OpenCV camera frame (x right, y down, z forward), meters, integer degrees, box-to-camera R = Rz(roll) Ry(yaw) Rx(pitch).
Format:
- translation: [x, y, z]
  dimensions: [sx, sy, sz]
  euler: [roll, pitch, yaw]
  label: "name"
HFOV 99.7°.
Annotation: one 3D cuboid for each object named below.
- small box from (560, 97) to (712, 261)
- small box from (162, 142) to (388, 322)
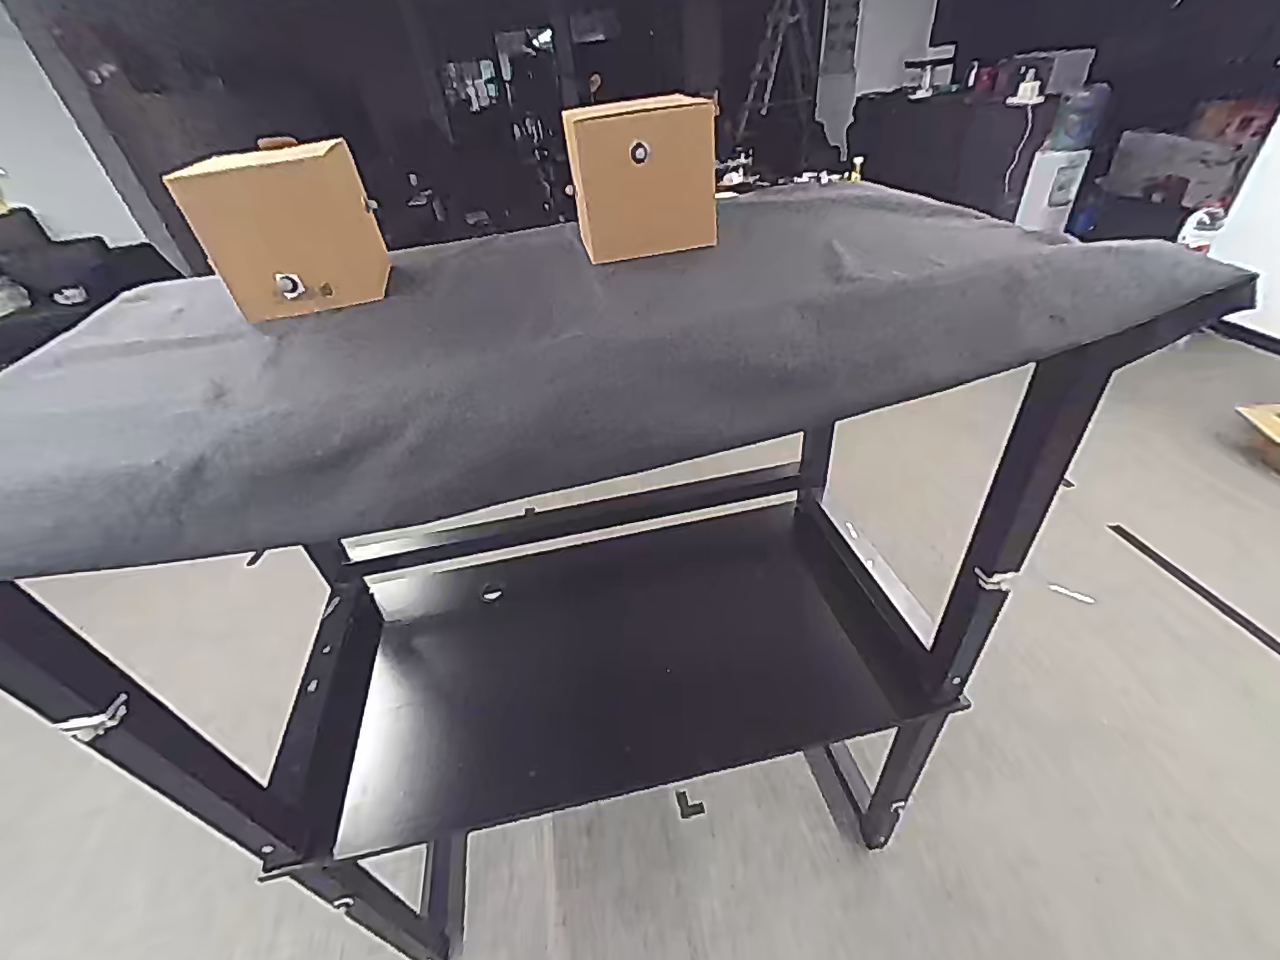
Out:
- translation: [-0.005, -0.414, 0.745]
  dimensions: [0.179, 0.176, 0.168]
  euler: [-11, 38, -5]
  label: "small box"
- translation: [-0.441, -0.321, 0.694]
  dimensions: [0.168, 0.176, 0.179]
  euler: [-15, 39, -9]
  label: "small box"
